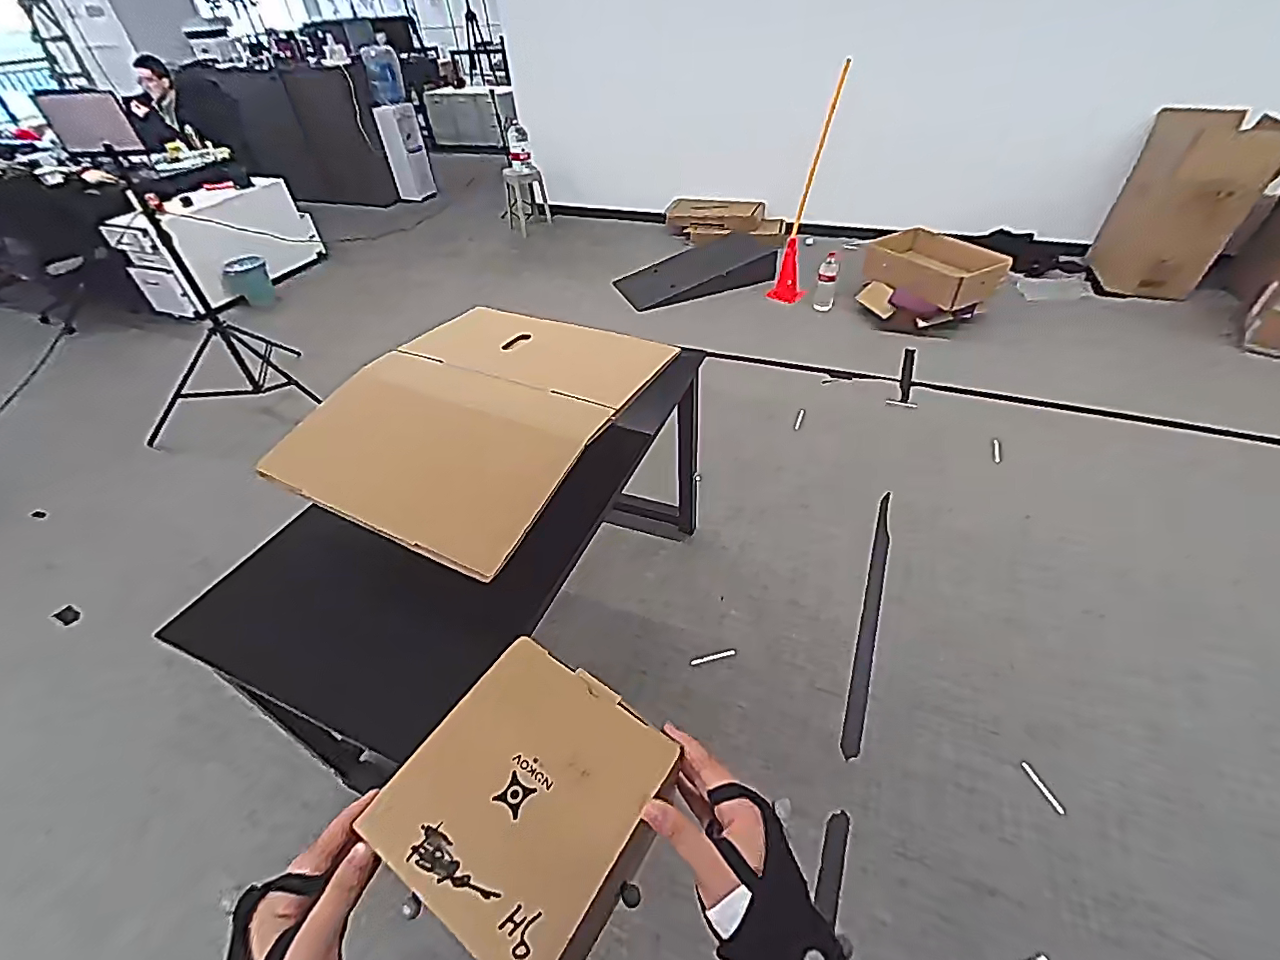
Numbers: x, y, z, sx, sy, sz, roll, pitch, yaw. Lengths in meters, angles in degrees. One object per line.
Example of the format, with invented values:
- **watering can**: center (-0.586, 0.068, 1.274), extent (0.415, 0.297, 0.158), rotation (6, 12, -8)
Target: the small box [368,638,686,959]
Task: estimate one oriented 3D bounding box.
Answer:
- **small box**: center (-0.080, 0.277, 0.454), extent (0.168, 0.176, 0.179), rotation (26, 51, 23)
